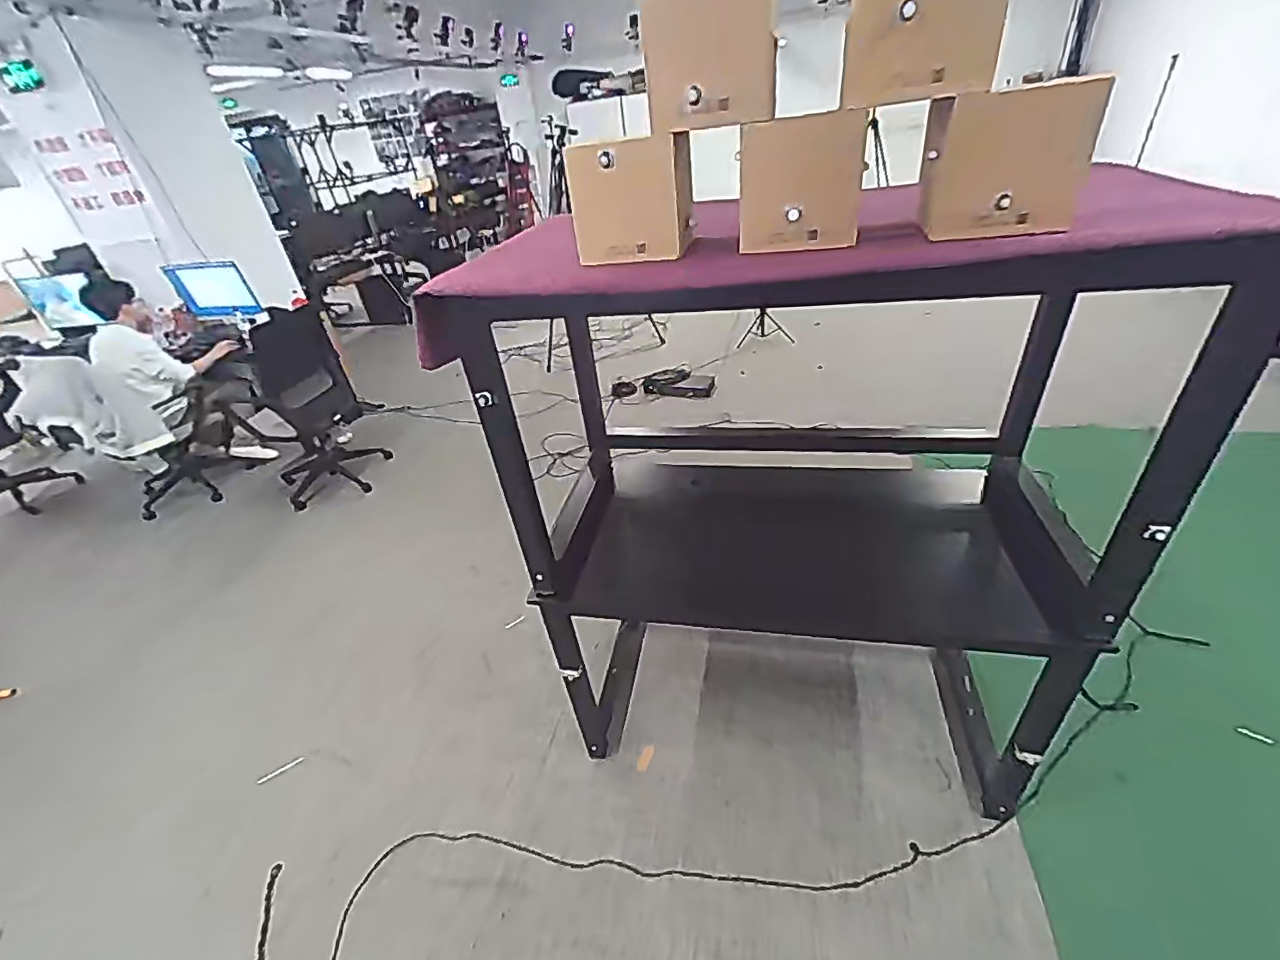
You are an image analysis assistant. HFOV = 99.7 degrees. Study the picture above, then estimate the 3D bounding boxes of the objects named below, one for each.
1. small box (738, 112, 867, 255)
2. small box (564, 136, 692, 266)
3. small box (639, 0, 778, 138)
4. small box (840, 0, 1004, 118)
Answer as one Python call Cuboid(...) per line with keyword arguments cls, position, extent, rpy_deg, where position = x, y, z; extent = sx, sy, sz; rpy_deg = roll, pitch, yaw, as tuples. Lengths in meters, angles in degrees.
Cuboid(cls="small box", position=(0.238, -0.446, 0.818), extent=(0.168, 0.176, 0.179), rpy_deg=(2, 34, 15))
Cuboid(cls="small box", position=(-0.008, -0.452, 0.877), extent=(0.168, 0.176, 0.179), rpy_deg=(1, 33, 14))
Cuboid(cls="small box", position=(0.103, -0.587, 0.761), extent=(0.168, 0.176, 0.179), rpy_deg=(2, 34, 16))
Cuboid(cls="small box", position=(0.352, -0.575, 0.694), extent=(0.168, 0.176, 0.179), rpy_deg=(2, 33, 15))
